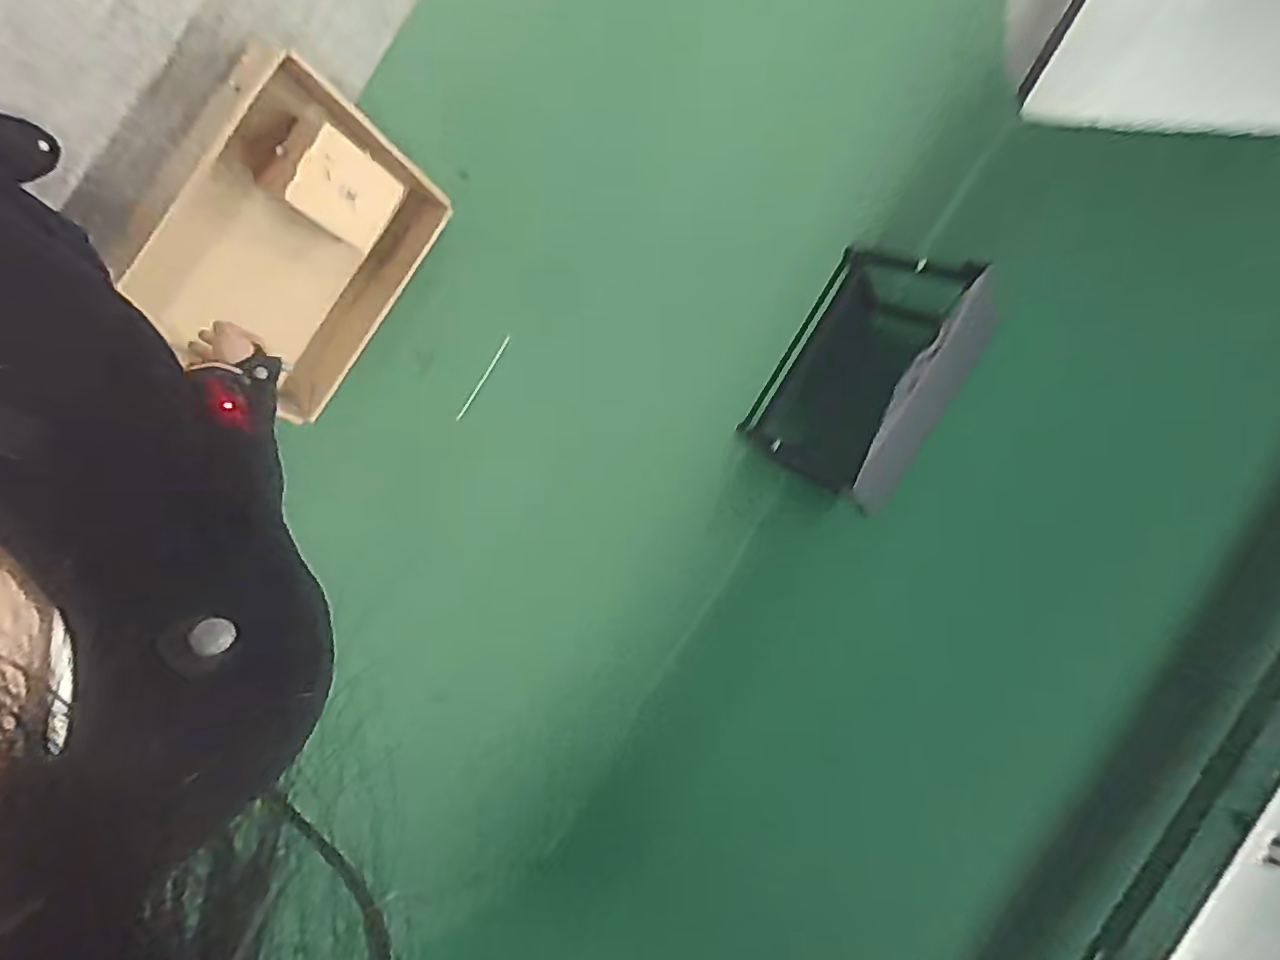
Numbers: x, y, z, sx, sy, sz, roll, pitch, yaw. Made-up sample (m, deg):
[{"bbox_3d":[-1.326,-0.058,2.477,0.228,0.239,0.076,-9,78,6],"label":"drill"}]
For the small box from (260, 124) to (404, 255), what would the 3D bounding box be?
[{"bbox_3d":[-0.636,-0.603,1.118,0.168,0.176,0.179,-58,145,1],"label":"small box"}]
